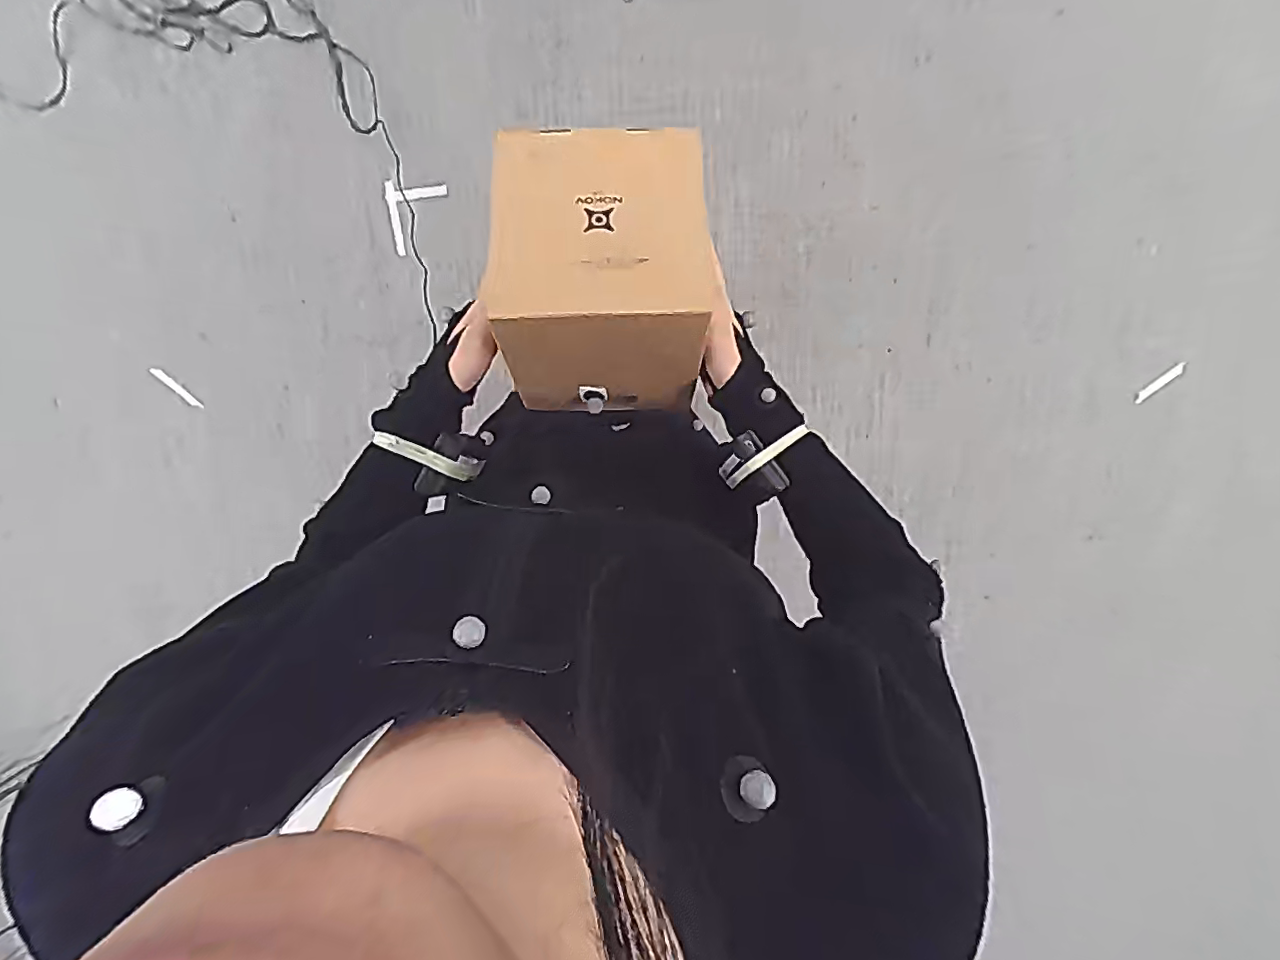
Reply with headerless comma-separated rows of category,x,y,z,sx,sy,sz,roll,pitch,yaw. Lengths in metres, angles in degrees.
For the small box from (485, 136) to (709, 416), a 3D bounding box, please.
small box,-0.035,-0.173,0.493,0.168,0.176,0.179,-3,73,-1
